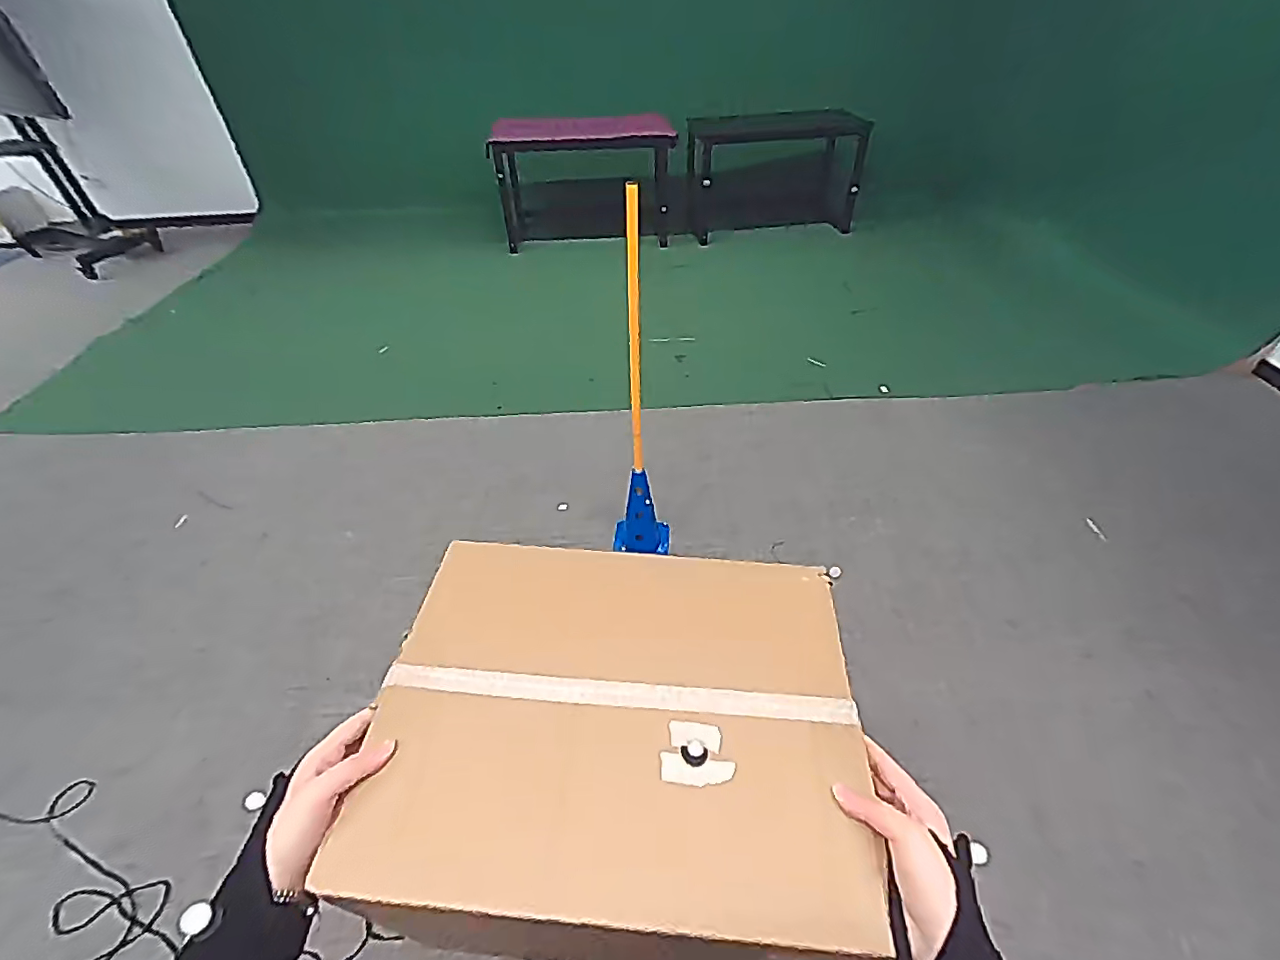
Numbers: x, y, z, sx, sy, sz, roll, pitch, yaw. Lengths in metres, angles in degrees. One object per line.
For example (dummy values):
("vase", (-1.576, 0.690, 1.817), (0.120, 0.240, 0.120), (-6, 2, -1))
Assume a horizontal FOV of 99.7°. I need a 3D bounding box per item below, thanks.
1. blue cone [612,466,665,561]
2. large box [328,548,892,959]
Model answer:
("blue cone", (-0.006, 0.110, 1.878), (0.193, 0.380, 0.192), (4, 42, 5))
("large box", (-0.019, 0.299, 0.581), (0.408, 0.320, 0.320), (4, 44, 2))
